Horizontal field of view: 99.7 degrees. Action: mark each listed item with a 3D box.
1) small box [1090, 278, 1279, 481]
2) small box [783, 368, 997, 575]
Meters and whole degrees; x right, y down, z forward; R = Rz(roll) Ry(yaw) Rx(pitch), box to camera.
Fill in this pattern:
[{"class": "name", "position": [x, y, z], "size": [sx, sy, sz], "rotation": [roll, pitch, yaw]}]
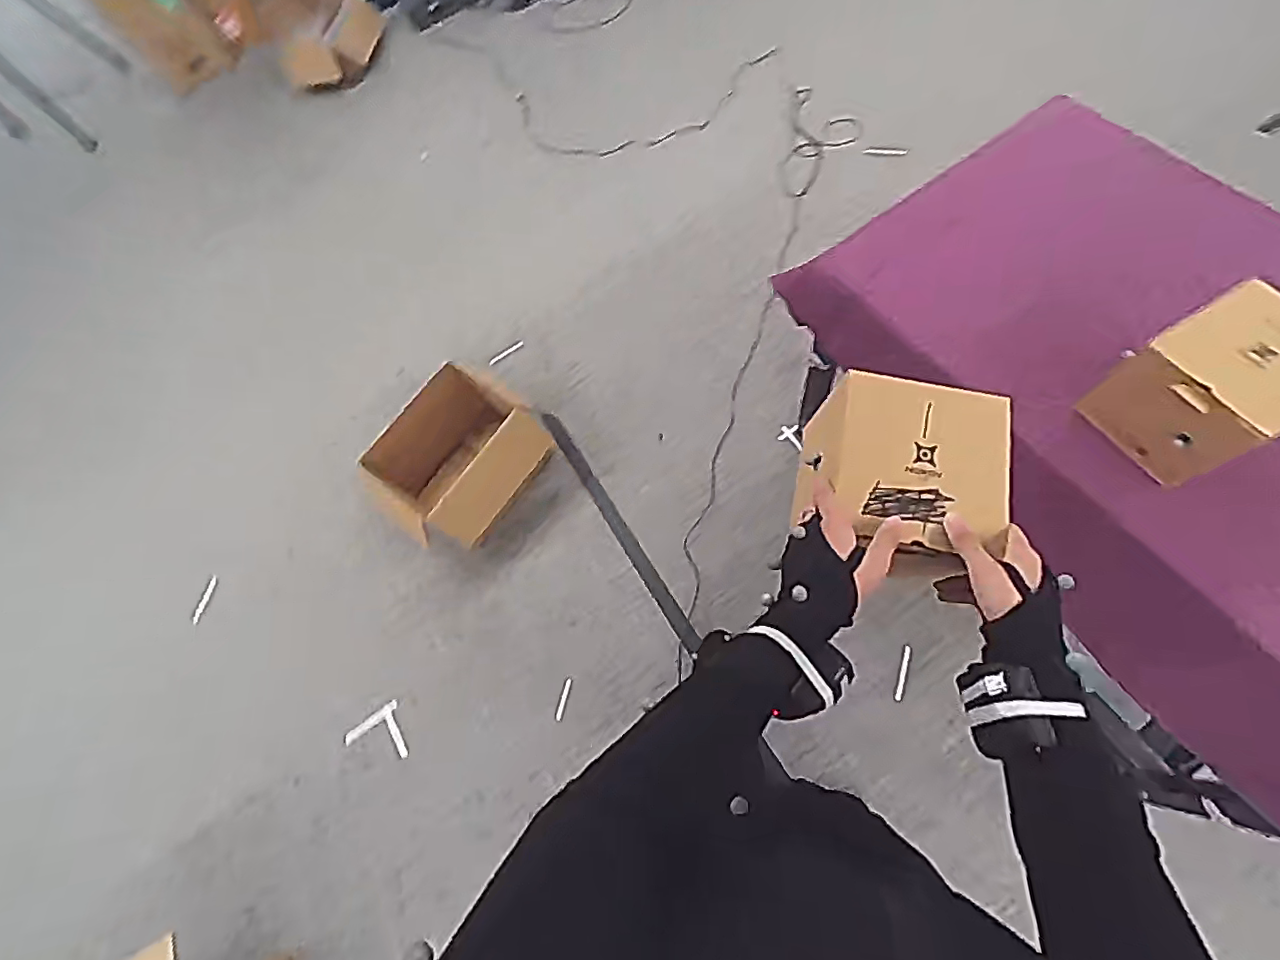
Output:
[{"class": "small box", "position": [0.767, -0.124, 0.730], "size": [0.179, 0.176, 0.168], "rotation": [-30, 67, -3]}, {"class": "small box", "position": [0.265, 0.002, 0.606], "size": [0.168, 0.176, 0.179], "rotation": [10, 73, 3]}]
